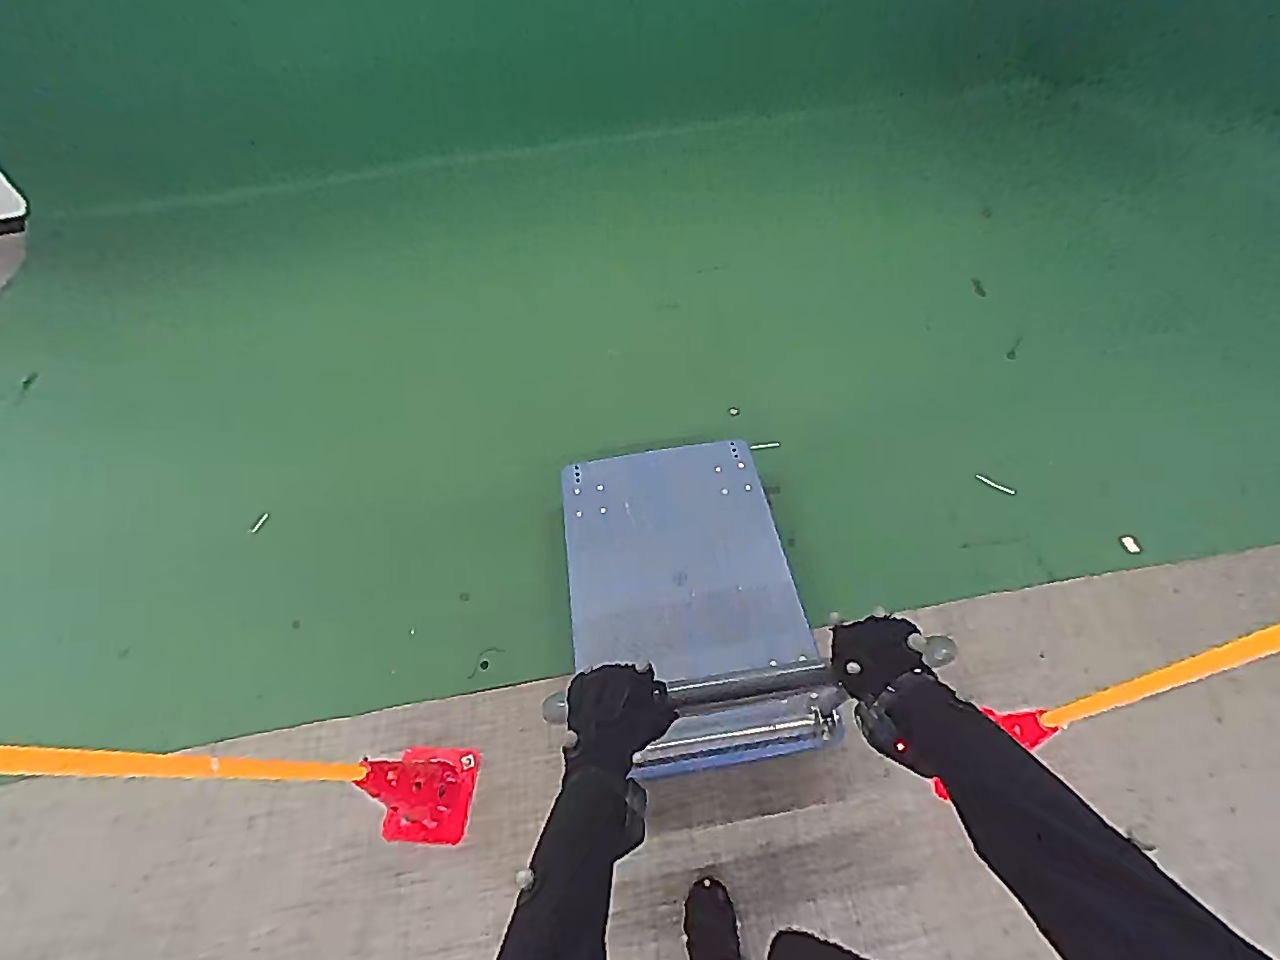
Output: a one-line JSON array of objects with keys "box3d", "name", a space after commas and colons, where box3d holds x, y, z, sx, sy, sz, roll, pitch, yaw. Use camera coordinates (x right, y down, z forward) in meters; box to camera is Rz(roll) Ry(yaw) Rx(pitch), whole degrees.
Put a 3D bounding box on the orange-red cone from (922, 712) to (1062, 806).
[{"box3d": [0.773, 0.555, 1.138, 0.198, 0.360, 0.199, -1, 55, 4], "name": "orange-red cone"}]
